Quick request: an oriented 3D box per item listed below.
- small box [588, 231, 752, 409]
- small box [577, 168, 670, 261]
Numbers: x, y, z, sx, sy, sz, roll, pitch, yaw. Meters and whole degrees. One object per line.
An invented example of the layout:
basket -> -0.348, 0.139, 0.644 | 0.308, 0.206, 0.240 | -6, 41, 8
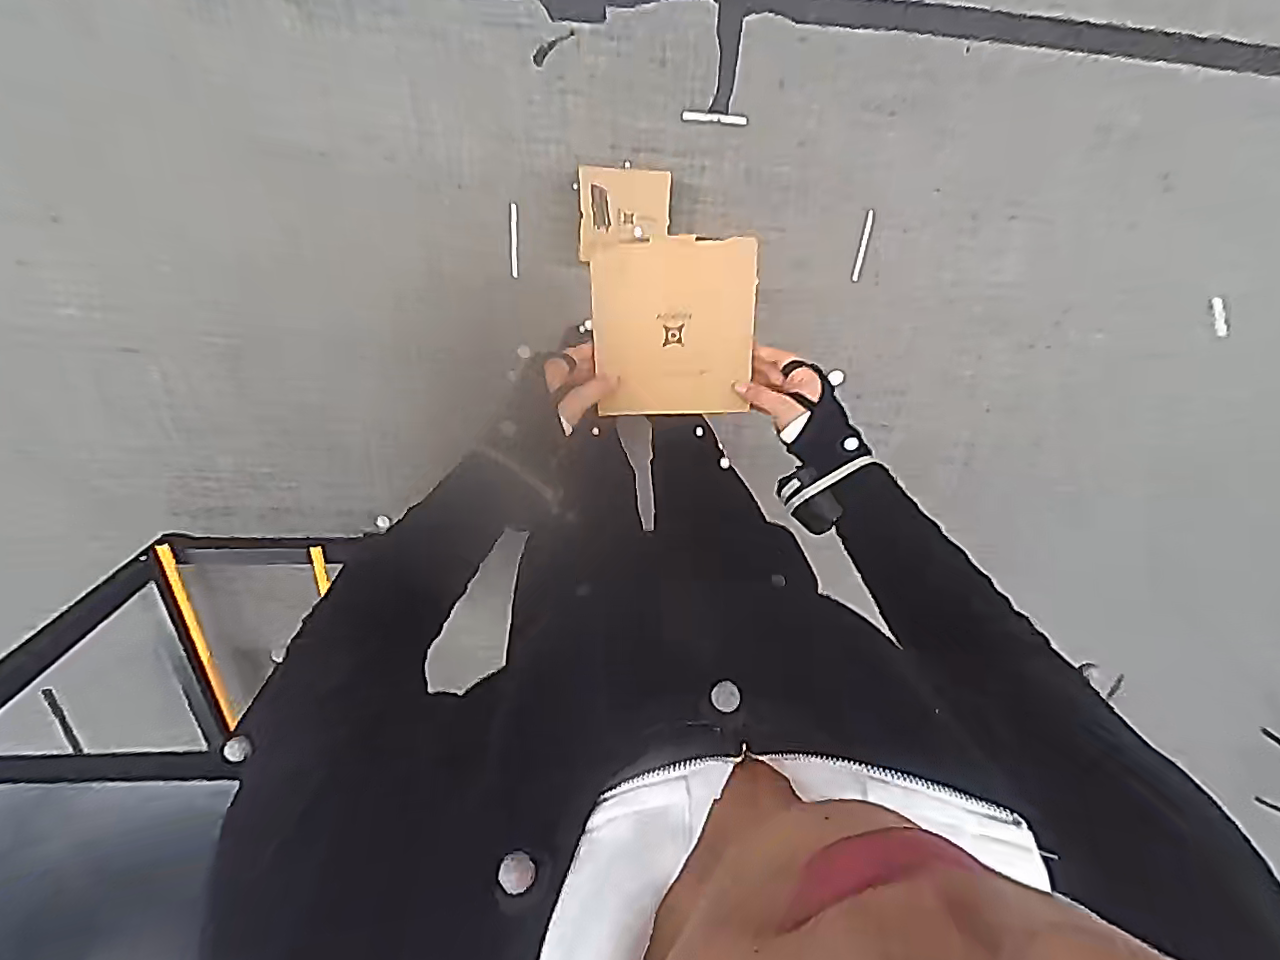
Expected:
small box -> 0.033, -0.190, 0.635 | 0.168, 0.176, 0.179 | -1, 113, 3
small box -> -0.039, -0.542, 1.118 | 0.179, 0.176, 0.168 | 0, 117, -6
